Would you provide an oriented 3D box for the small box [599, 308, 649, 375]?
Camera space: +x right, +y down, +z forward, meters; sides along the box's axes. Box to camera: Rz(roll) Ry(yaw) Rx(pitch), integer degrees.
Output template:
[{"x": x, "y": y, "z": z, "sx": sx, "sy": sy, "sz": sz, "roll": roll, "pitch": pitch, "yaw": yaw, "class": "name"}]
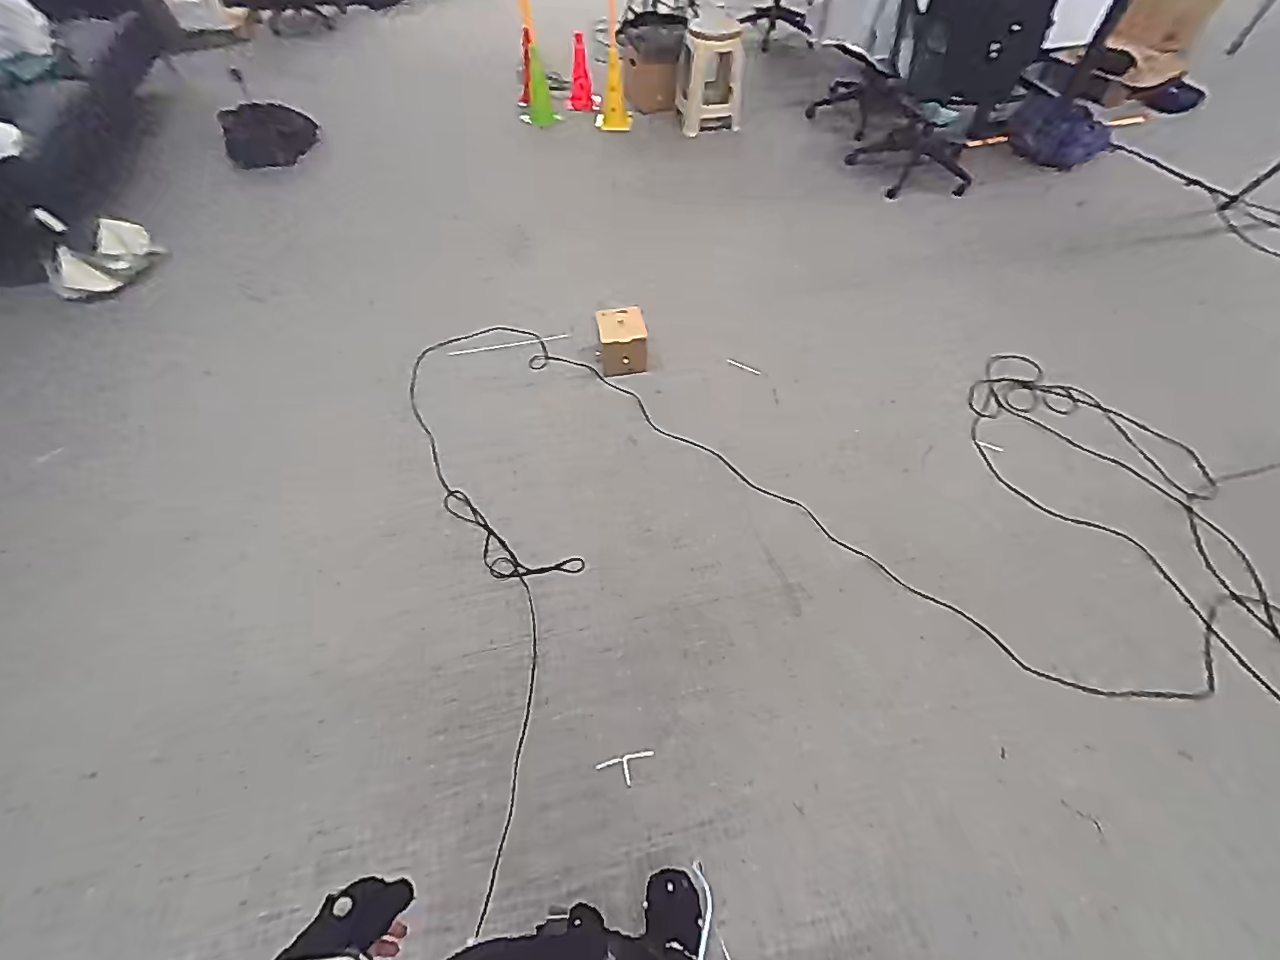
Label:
[{"x": -0.058, "y": -0.506, "z": 2.000, "sx": 0.168, "sy": 0.176, "sz": 0.179, "roll": -8, "pitch": 57, "yaw": -5, "class": "small box"}]
